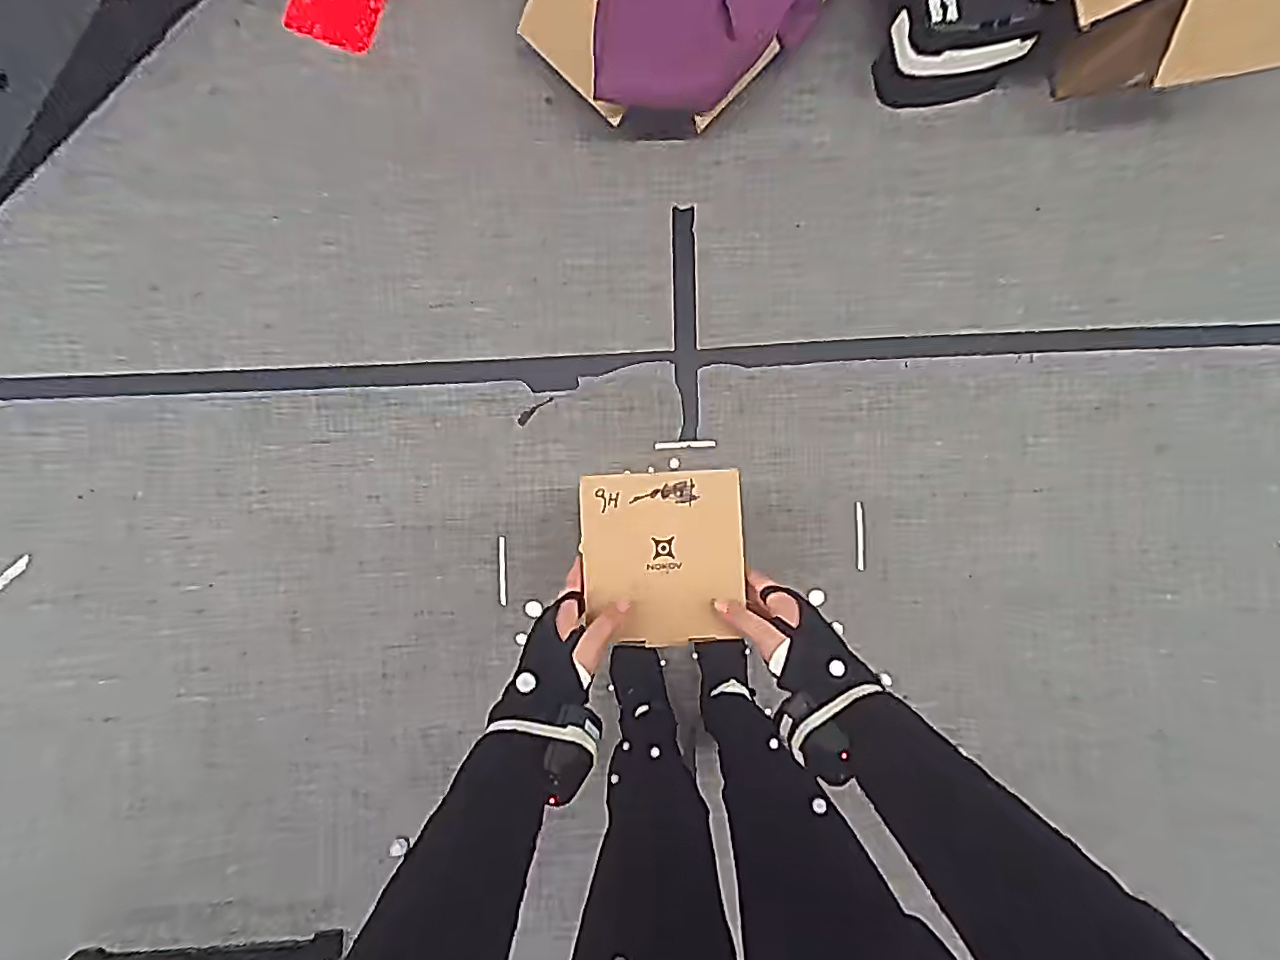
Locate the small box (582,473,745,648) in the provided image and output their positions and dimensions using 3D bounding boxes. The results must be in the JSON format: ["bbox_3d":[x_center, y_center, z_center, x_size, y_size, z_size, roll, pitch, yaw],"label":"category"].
[{"bbox_3d":[0.025,0.082,0.627,0.168,0.176,0.179,-2,90,0],"label":"small box"}]
